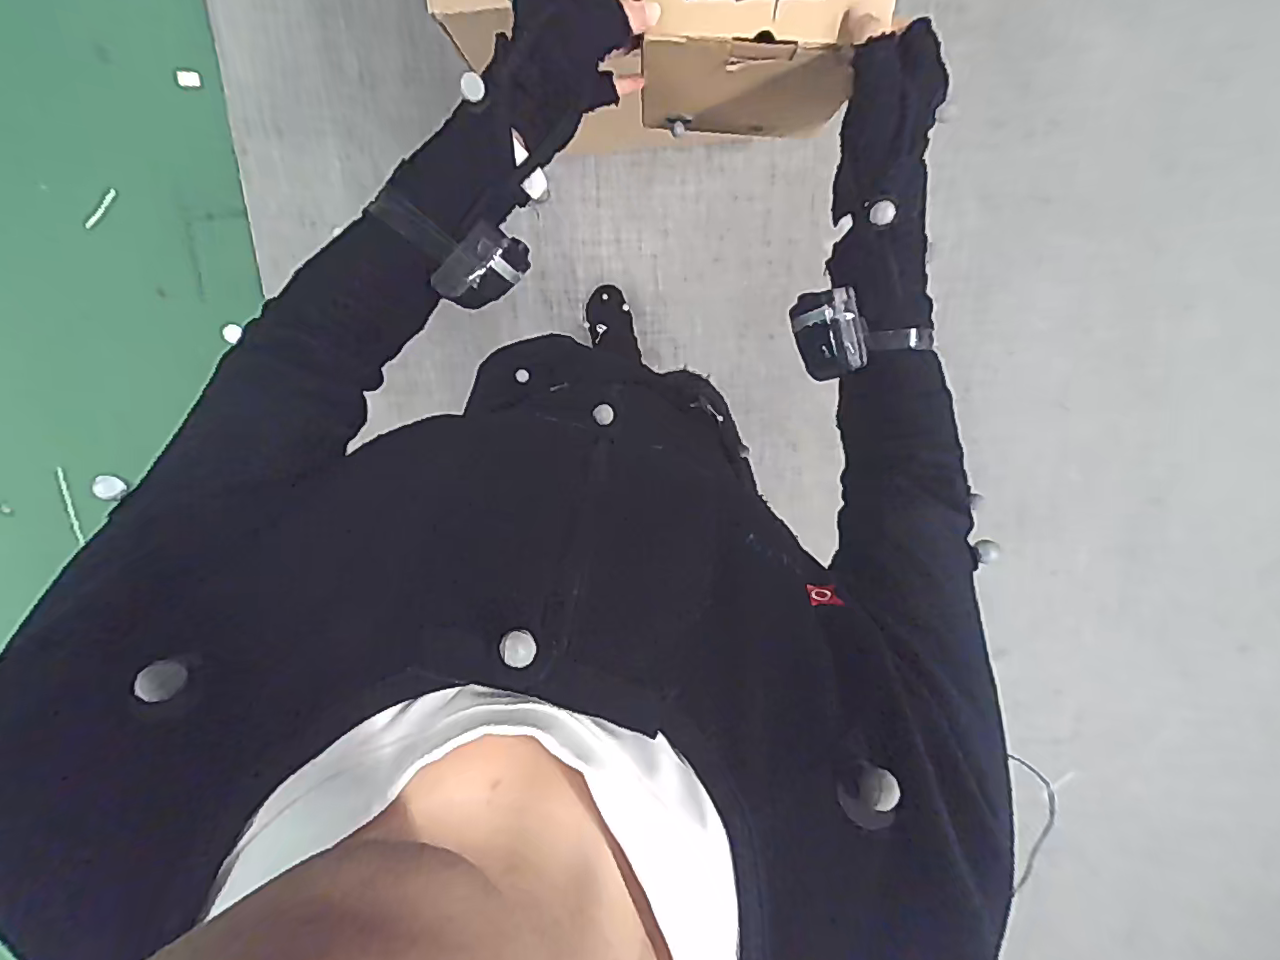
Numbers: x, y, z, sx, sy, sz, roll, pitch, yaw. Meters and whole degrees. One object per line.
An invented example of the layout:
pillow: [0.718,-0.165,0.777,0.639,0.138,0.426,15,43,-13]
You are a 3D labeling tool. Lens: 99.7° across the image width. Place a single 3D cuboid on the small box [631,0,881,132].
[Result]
small box: [0.084,-0.396,0.418,0.168,0.176,0.179,4,104,0]
